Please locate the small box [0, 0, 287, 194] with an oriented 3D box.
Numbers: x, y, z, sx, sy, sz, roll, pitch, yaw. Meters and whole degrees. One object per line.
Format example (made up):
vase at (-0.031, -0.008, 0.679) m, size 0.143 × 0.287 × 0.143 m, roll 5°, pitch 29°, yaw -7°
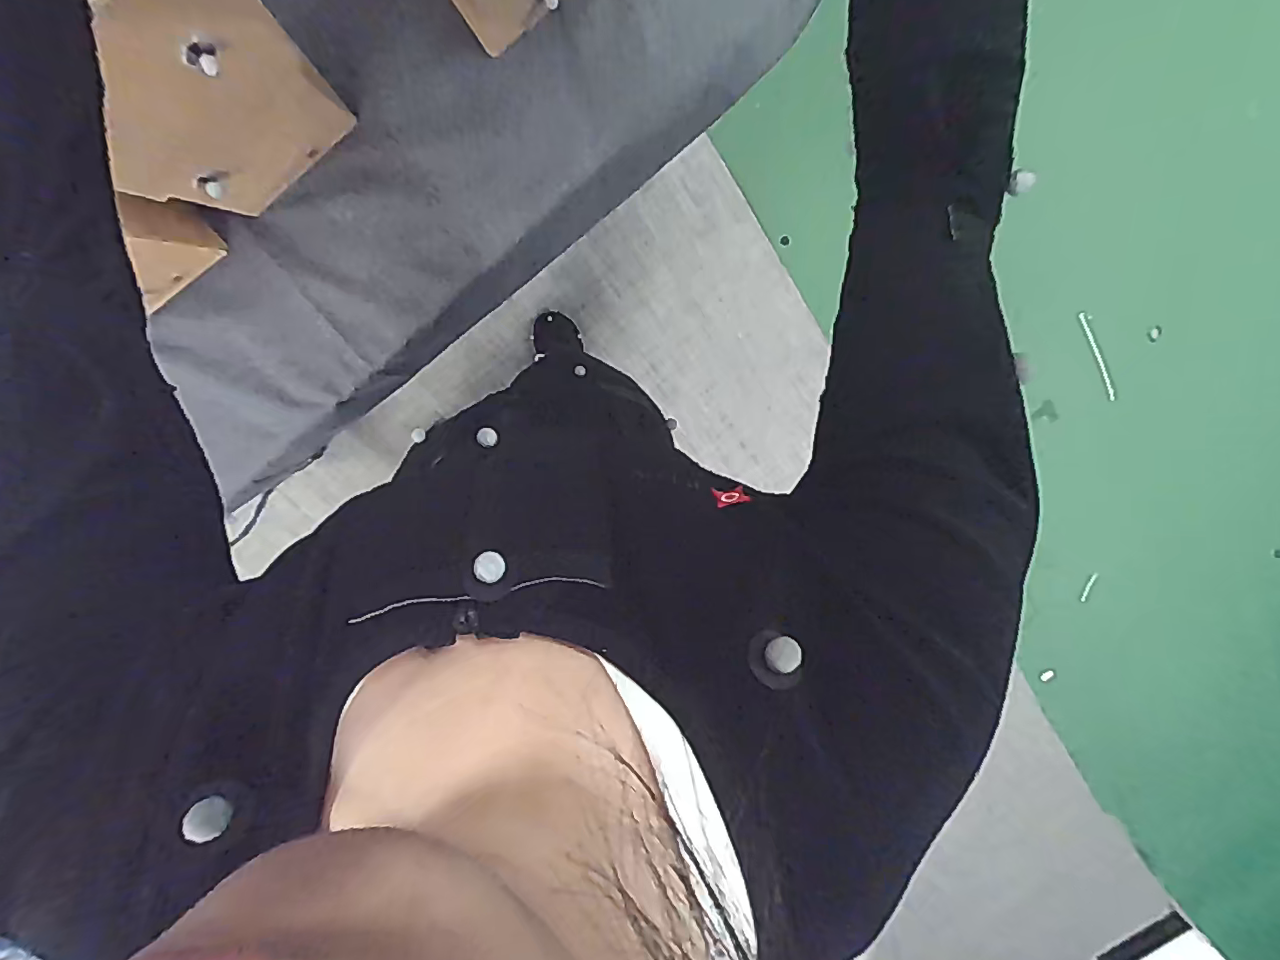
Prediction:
small box at (-0.382, -0.330, 0.362) m, size 0.179 × 0.176 × 0.168 m, roll -39°, pitch 108°, yaw 7°
